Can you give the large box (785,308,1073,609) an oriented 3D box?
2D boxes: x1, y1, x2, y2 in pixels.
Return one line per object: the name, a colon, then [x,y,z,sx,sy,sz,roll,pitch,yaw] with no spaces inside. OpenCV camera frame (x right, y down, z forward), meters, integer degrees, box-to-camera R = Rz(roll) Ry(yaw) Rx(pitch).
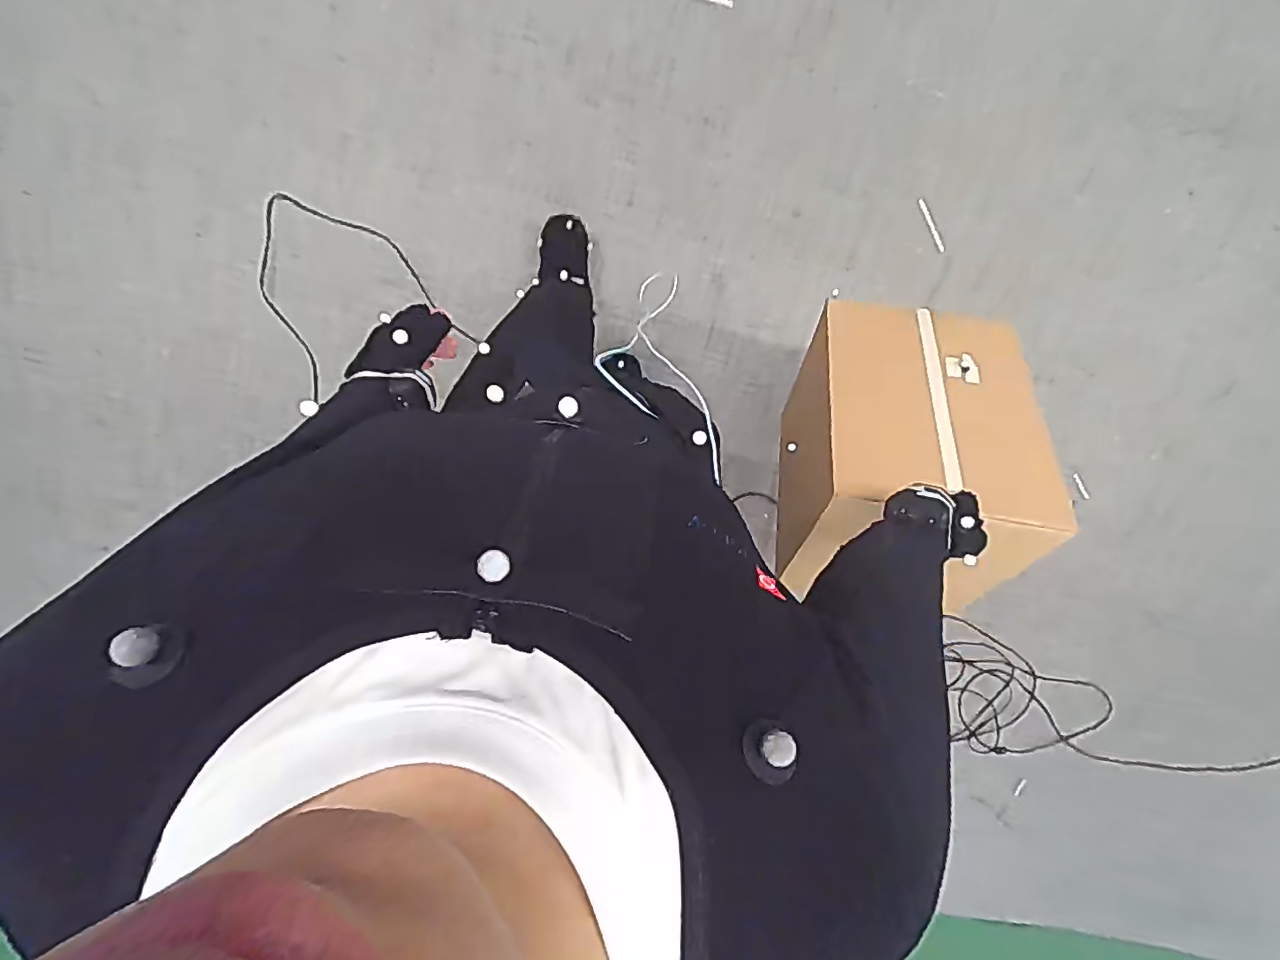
large box: [0.441,-0.032,0.942,0.320,0.408,0.320,9,147,3]
